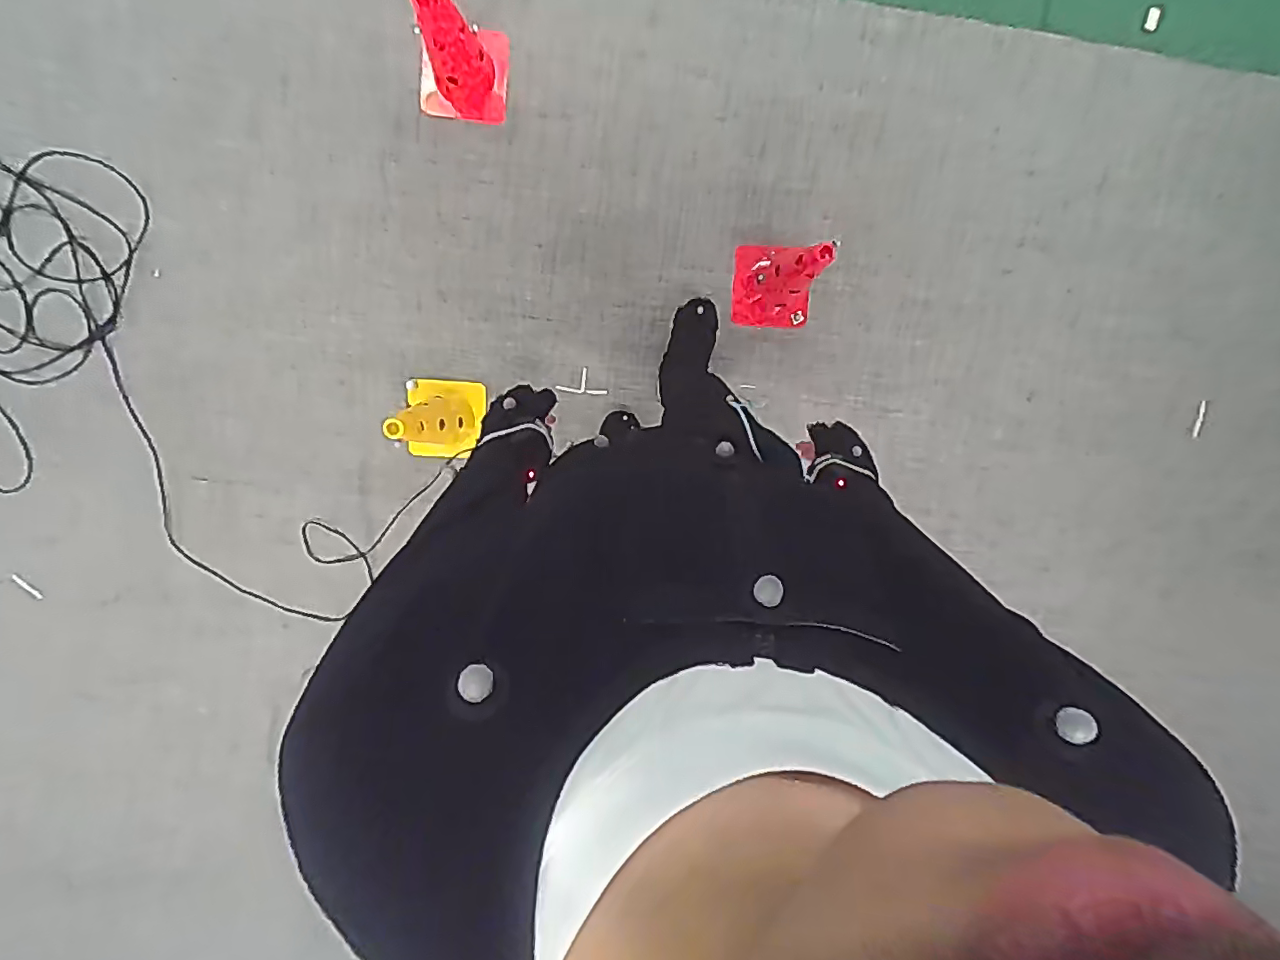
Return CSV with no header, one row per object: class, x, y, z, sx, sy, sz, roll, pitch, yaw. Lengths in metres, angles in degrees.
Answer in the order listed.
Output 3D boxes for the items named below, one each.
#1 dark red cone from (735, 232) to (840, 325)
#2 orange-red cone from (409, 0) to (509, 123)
dark red cone,0.351,-0.472,1.204,0.202,0.394,0.201,0,98,-3
orange-red cone,-0.408,-0.932,1.111,0.198,0.360,0.199,6,100,-3
